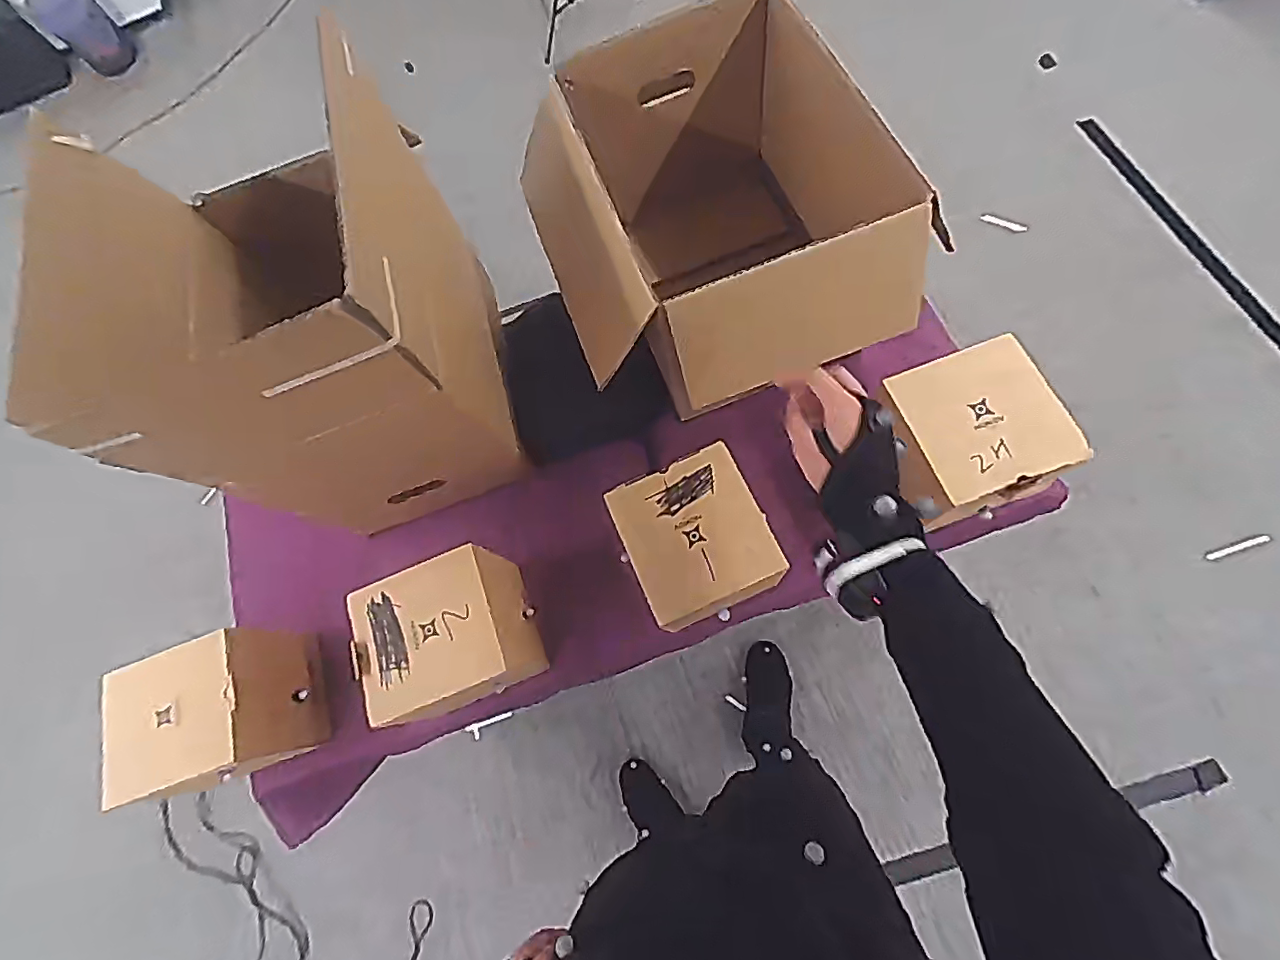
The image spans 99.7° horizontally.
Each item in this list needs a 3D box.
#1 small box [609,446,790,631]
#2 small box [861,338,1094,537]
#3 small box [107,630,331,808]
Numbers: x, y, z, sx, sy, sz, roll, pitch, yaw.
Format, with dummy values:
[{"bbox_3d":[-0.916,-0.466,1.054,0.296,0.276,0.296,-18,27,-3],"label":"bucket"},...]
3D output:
[{"bbox_3d":[0.076,0.087,0.715,0.168,0.176,0.179,-25,71,1],"label":"small box"},{"bbox_3d":[0.411,-0.045,0.701,0.168,0.176,0.179,-21,70,4],"label":"small box"},{"bbox_3d":[-0.567,0.319,0.744,0.179,0.176,0.168,-21,70,1],"label":"small box"}]
